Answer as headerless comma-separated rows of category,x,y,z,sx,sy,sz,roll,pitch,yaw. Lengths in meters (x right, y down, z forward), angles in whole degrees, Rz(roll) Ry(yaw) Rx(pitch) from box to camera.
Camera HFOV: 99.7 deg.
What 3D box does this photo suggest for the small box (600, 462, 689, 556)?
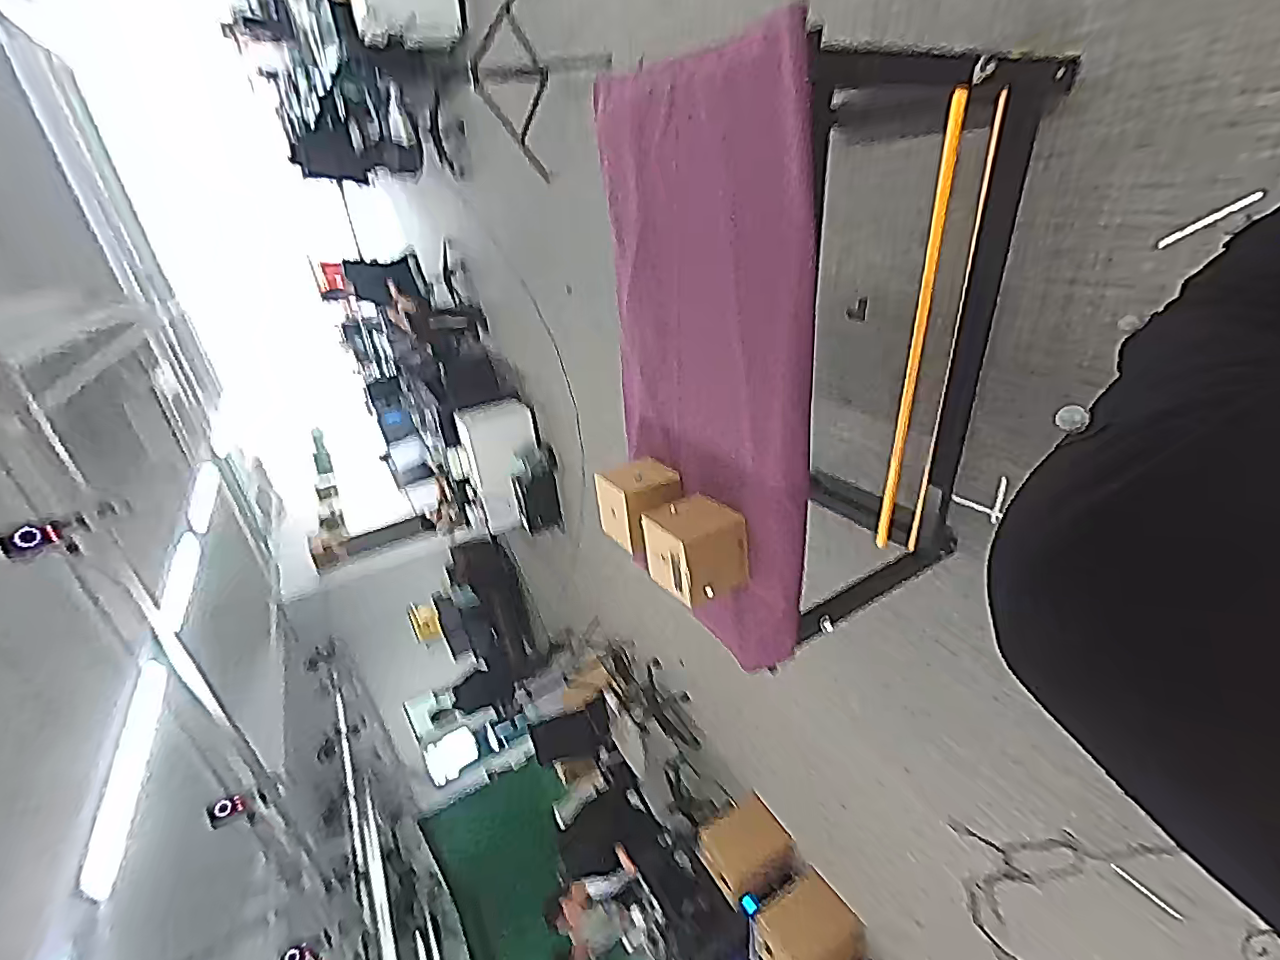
small box,0.014,0.067,1.429,0.168,0.176,0.179,31,134,54
